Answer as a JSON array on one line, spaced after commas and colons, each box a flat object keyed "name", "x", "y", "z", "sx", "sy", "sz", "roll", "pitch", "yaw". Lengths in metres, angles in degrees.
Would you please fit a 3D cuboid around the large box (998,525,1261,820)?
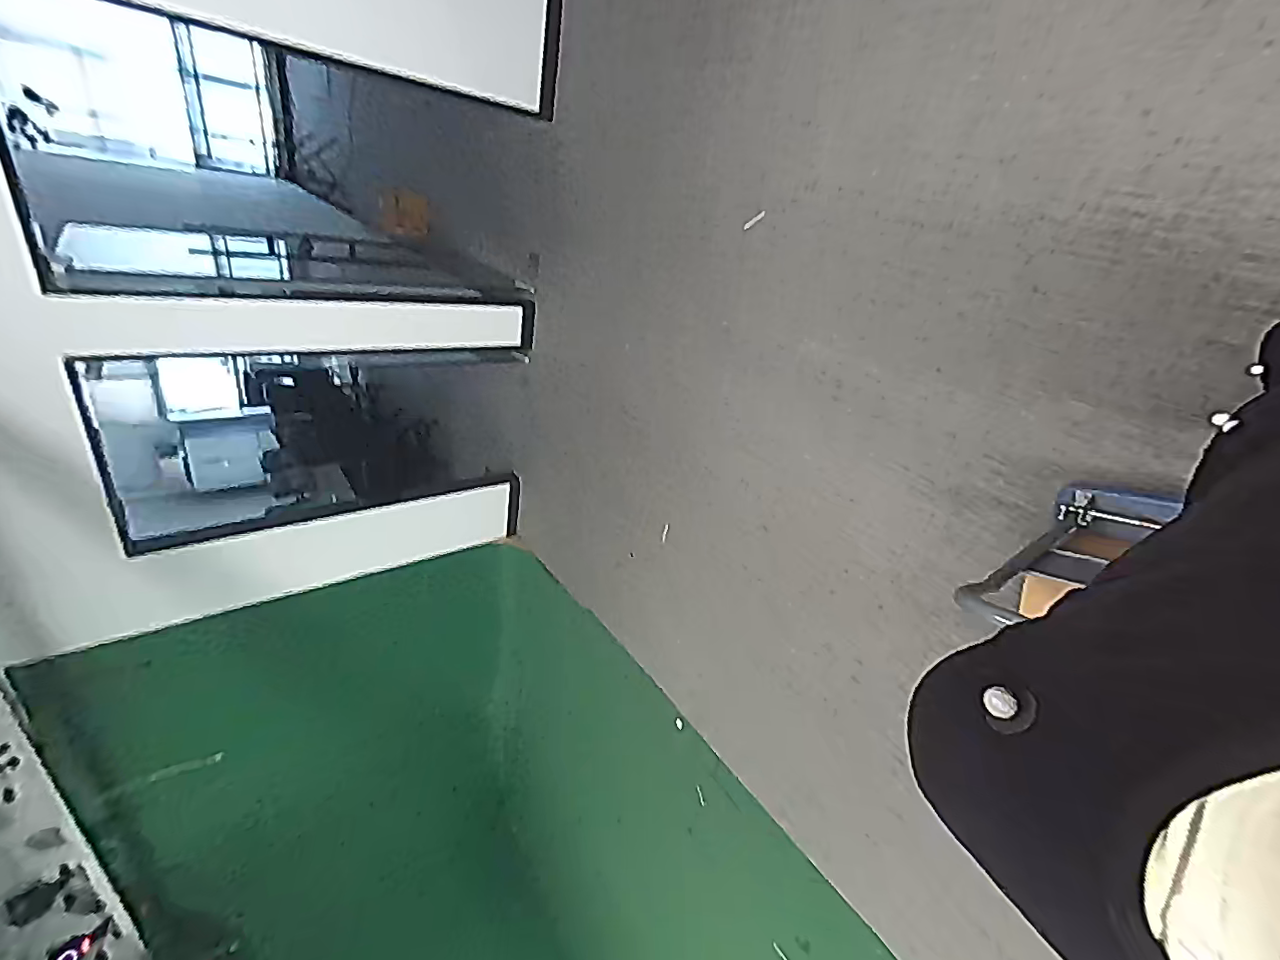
[{"name": "large box", "x": 0.970, "y": 0.342, "z": 1.086, "sx": 0.320, "sy": 0.320, "sz": 0.408, "roll": 17, "pitch": 114, "yaw": 48}]
